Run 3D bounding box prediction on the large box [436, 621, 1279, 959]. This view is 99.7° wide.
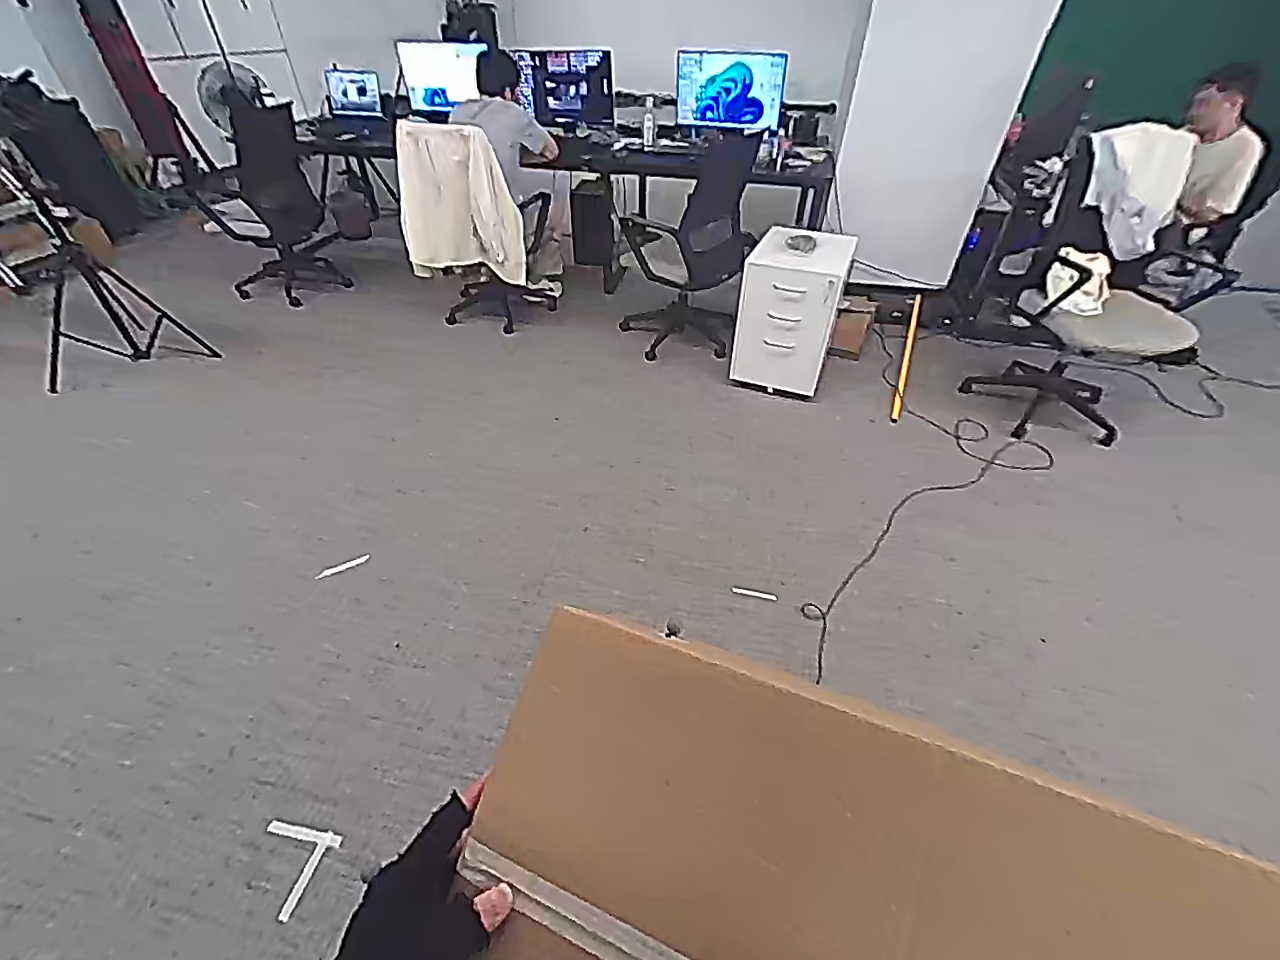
[{"bbox_3d":[0.113,0.327,0.413,0.408,0.320,0.320,15,77,19],"label":"large box"}]
